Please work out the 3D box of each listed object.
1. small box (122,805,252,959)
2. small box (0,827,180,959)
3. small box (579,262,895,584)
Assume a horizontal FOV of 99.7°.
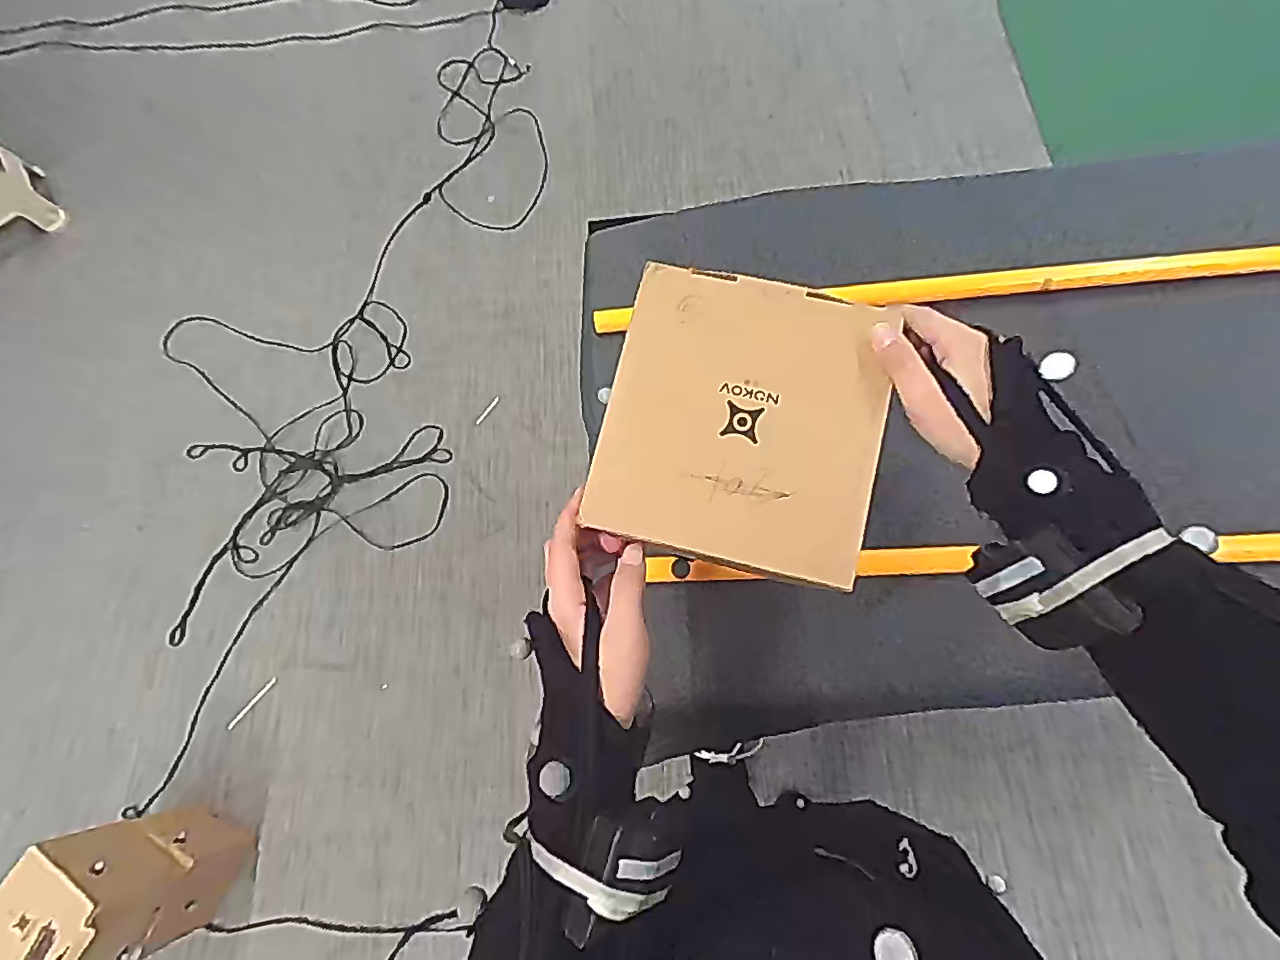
[{"bbox_3d":[-0.937,0.792,1.080,0.168,0.176,0.179,21,73,12],"label":"small box"},{"bbox_3d":[-0.961,0.735,0.927,0.179,0.176,0.168,26,74,14],"label":"small box"},{"bbox_3d":[0.065,-0.028,0.407,0.168,0.176,0.179,13,82,6],"label":"small box"}]
